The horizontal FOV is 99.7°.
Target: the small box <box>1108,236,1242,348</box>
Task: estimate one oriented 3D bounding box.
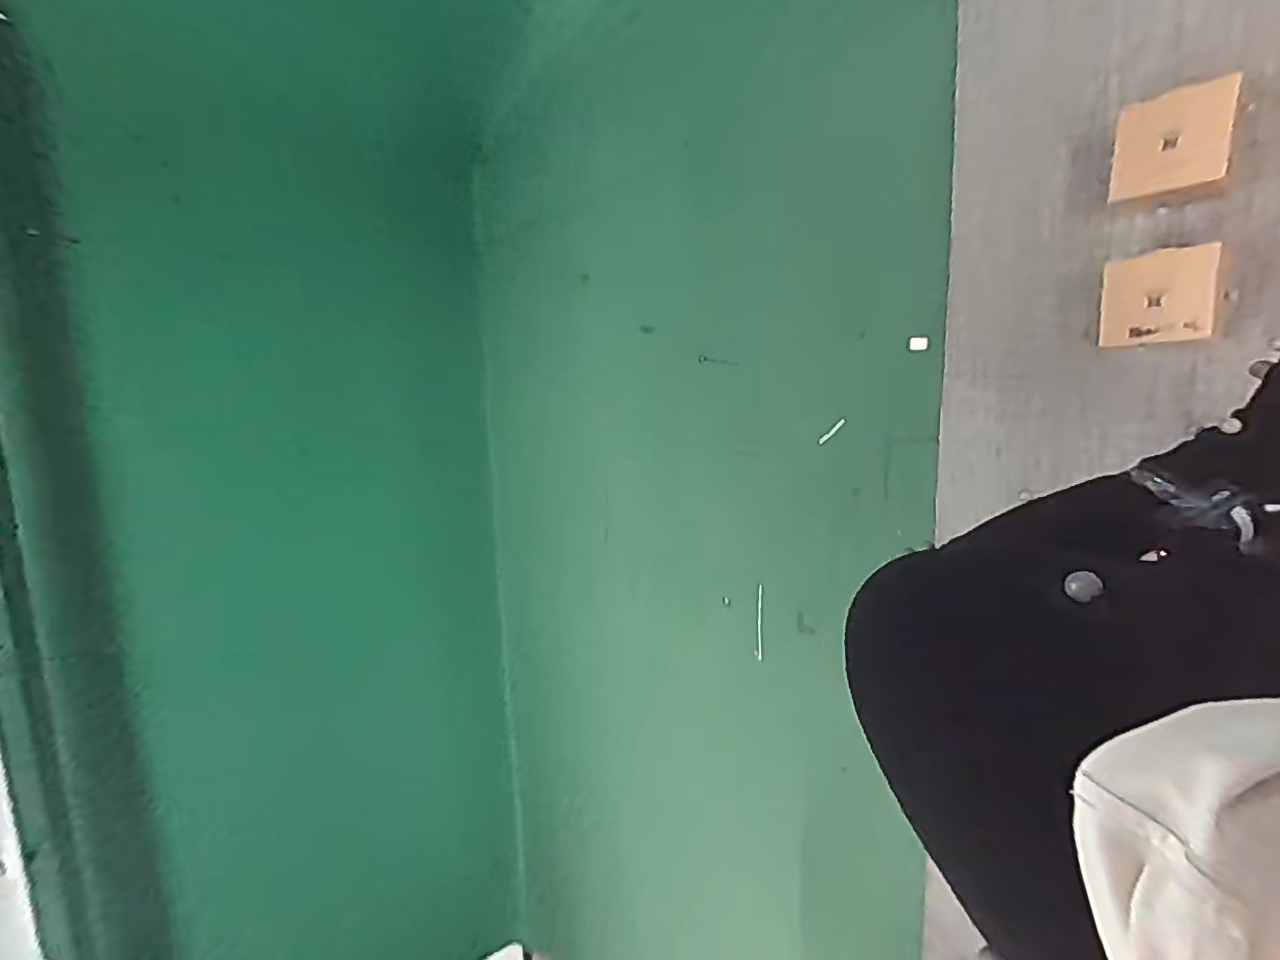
[{"bbox_3d":[1.088,-0.371,1.100,0.168,0.176,0.179,9,102,52],"label":"small box"}]
